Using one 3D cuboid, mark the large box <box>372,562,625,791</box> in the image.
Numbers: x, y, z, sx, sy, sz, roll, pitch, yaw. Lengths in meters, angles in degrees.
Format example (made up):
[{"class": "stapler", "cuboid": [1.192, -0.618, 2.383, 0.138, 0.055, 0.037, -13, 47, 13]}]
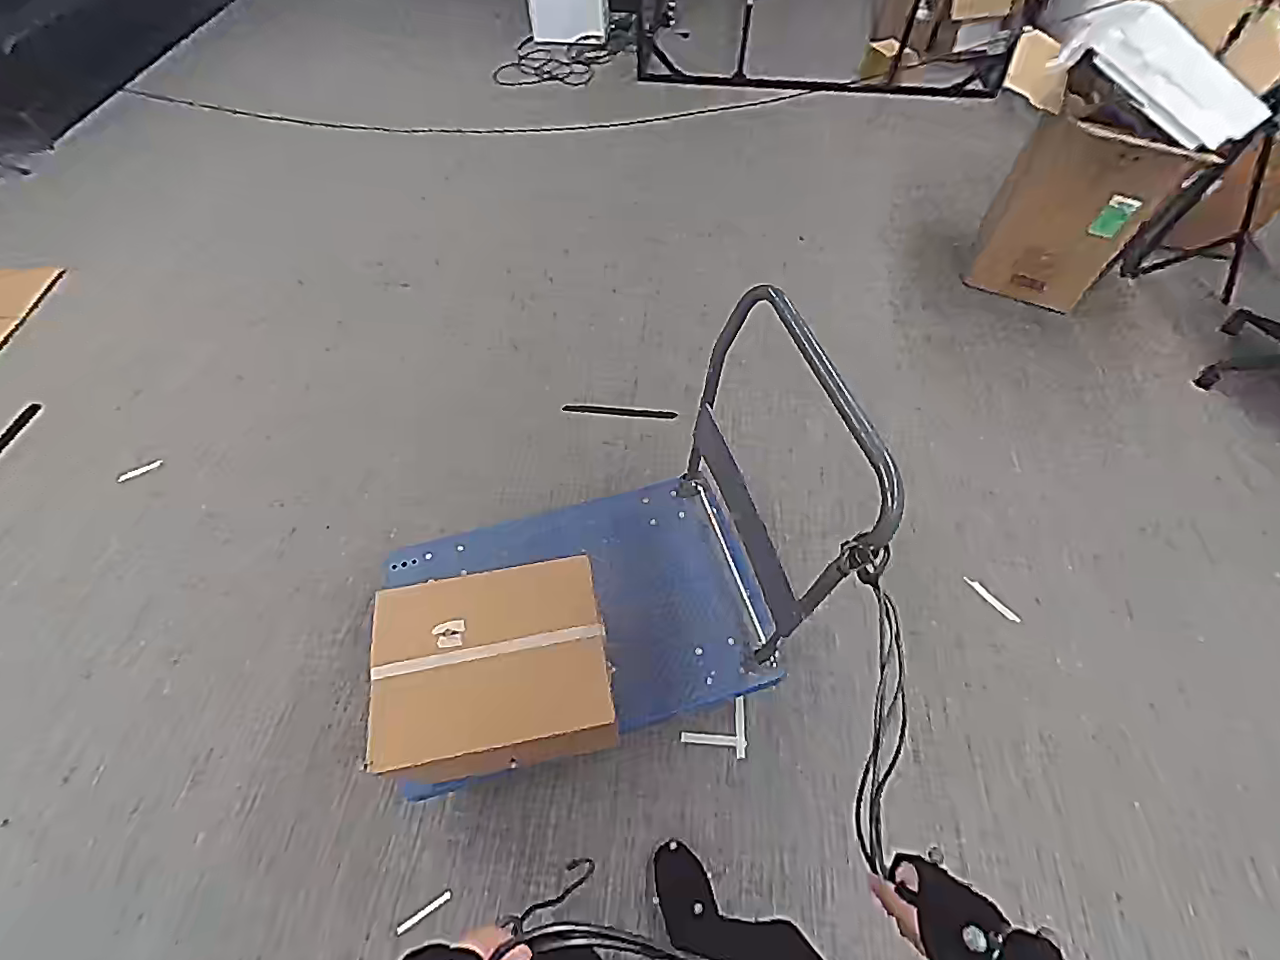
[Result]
[{"class": "large box", "cuboid": [-0.258, 0.397, 1.075, 0.408, 0.320, 0.320, -10, 57, -6]}]
